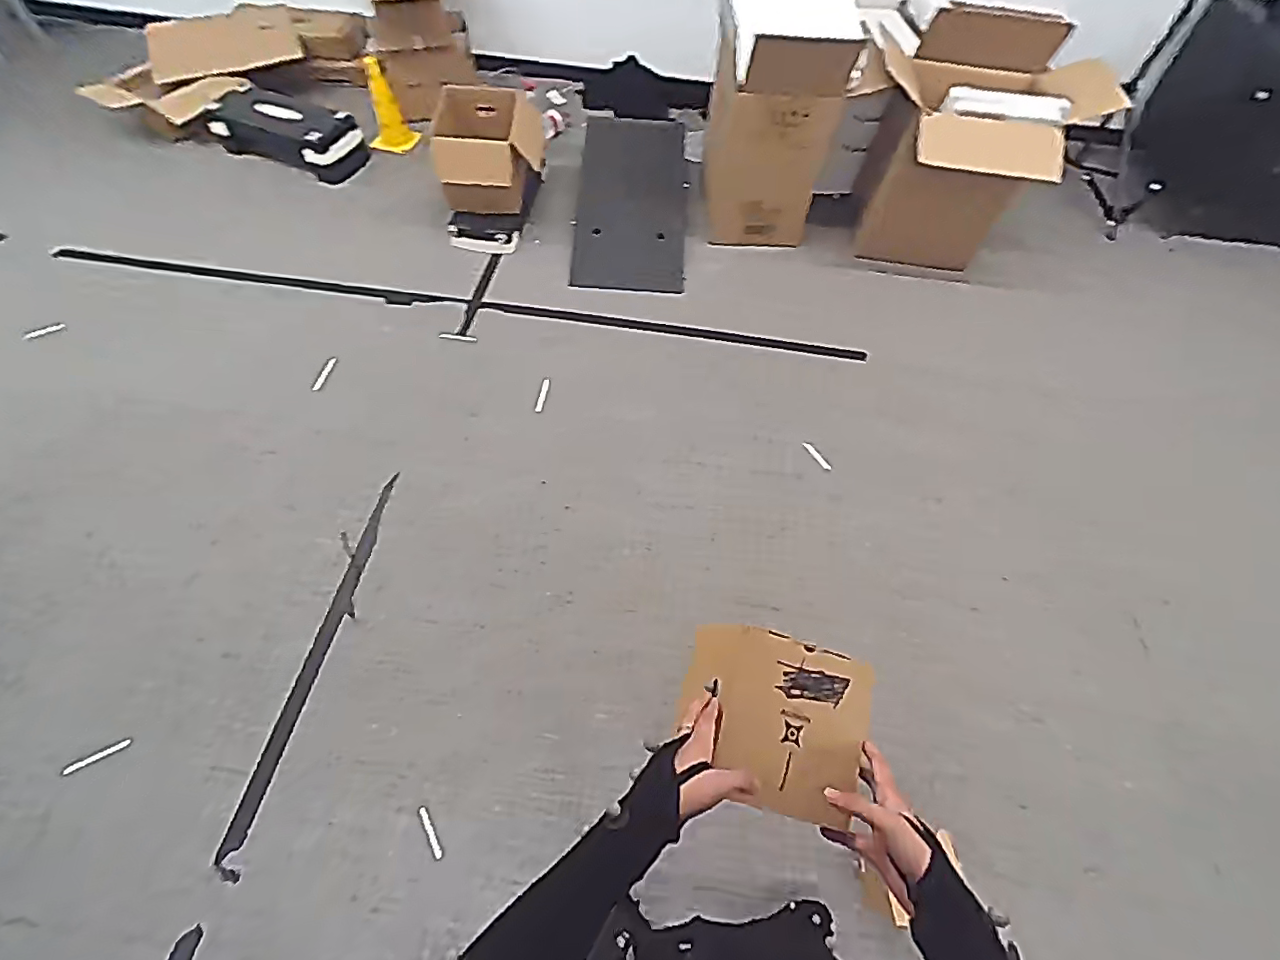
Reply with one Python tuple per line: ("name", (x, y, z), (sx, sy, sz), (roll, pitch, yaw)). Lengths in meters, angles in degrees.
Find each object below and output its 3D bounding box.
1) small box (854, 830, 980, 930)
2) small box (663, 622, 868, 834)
("small box", (0.616, 0.898, 1.226), (0.179, 0.176, 0.168), (-1, 58, -4))
("small box", (0.140, 0.280, 0.646), (0.168, 0.176, 0.179), (20, 71, -7))
